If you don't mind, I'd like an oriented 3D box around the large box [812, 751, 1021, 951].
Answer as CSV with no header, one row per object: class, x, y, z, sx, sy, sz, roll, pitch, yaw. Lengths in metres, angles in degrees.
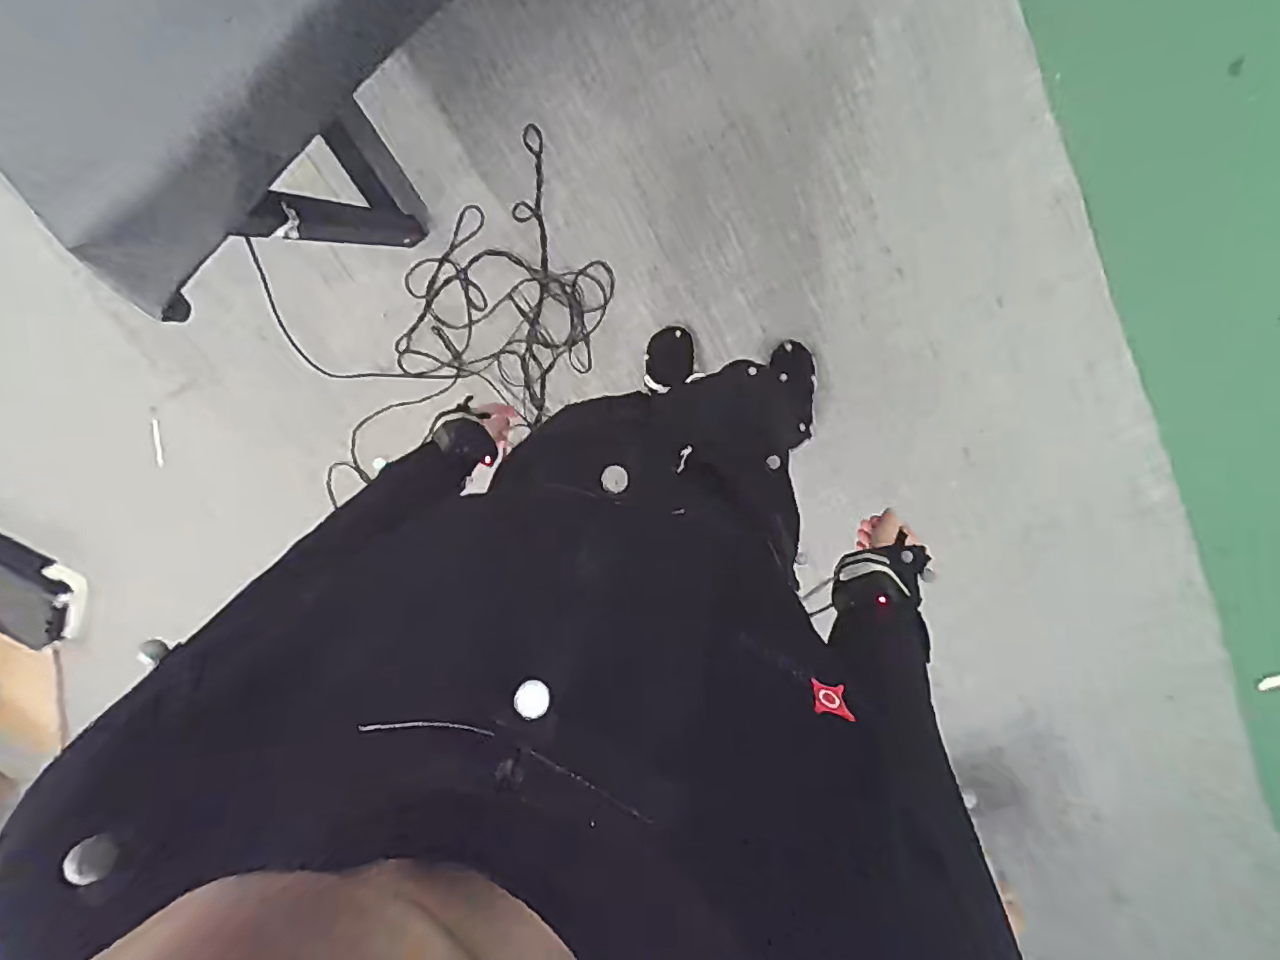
large box,0.773,1.066,1.568,0.408,0.320,0.320,-29,105,17
